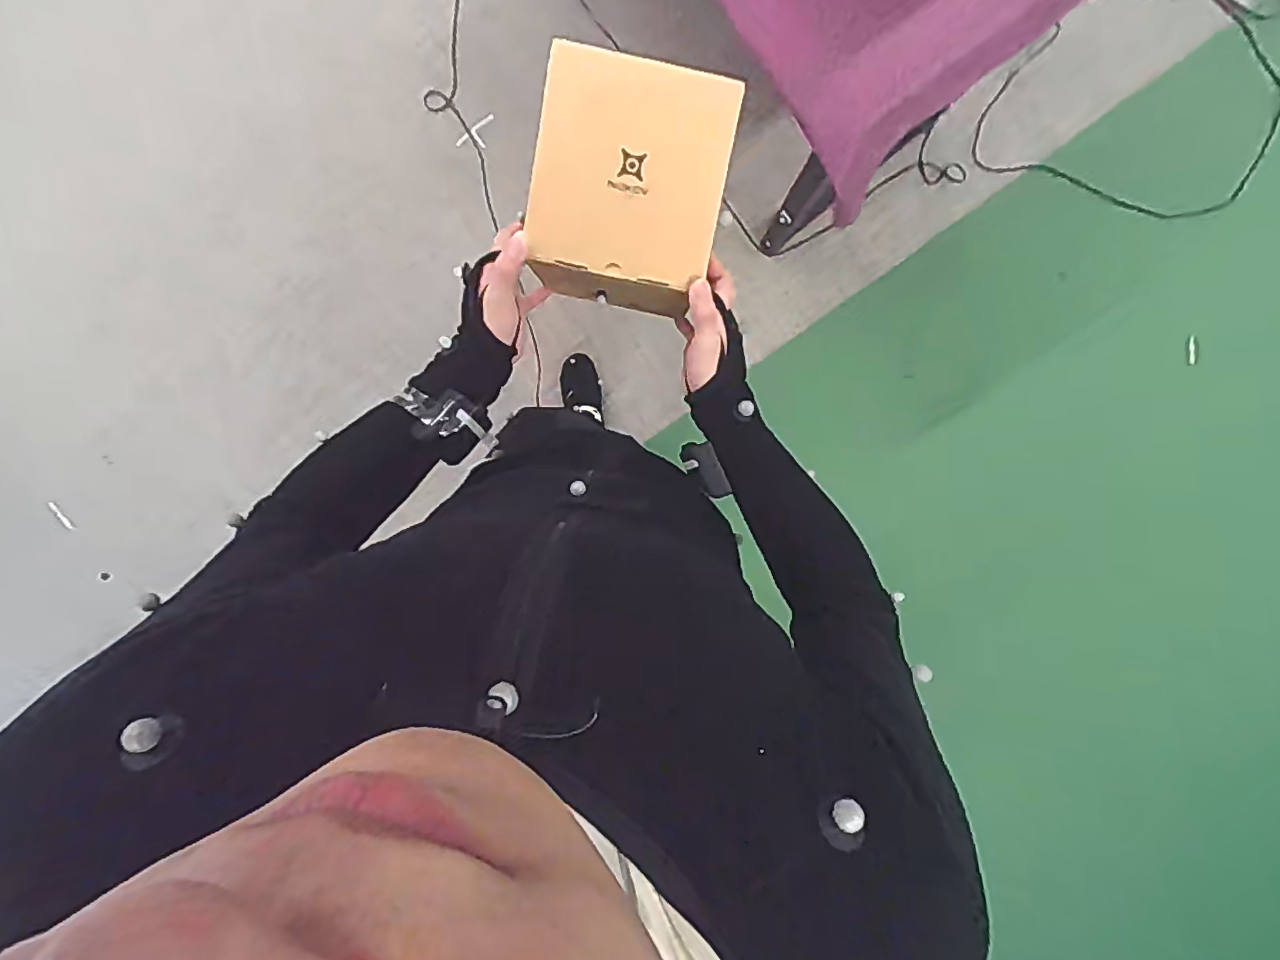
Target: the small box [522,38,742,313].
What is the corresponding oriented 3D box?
[{"bbox_3d":[-0.012,-0.278,0.539,0.168,0.176,0.179,10,100,-4],"label":"small box"}]
